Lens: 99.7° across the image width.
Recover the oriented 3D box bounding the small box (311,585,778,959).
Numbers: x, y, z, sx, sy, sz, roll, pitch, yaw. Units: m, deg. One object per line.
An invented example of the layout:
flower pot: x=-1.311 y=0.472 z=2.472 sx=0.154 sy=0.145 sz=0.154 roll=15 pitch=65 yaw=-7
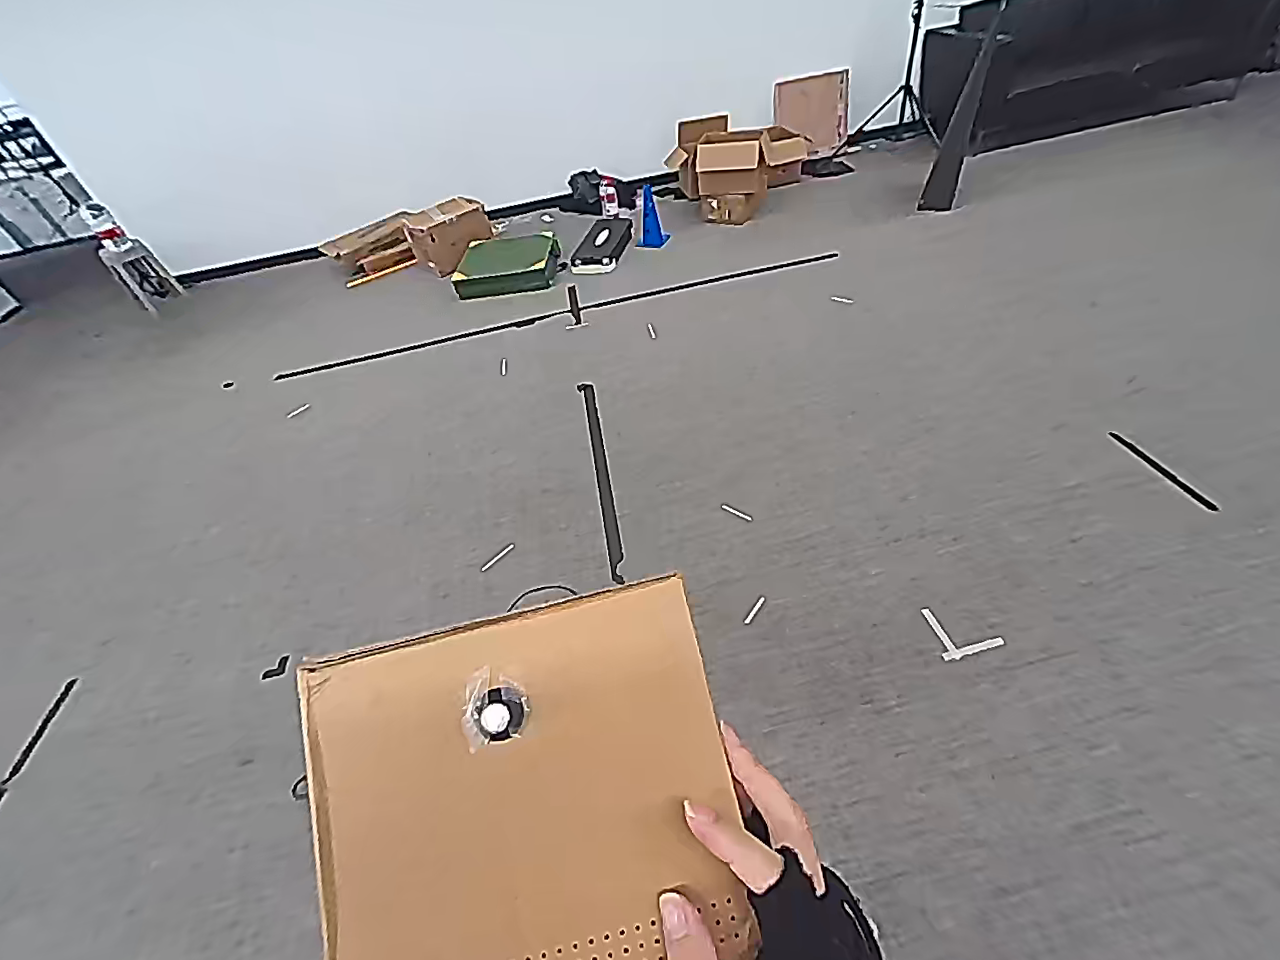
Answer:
small box: x=-0.046 y=0.165 z=0.303 sx=0.179 sy=0.168 sz=0.176 roll=-12 pitch=78 yaw=-4
